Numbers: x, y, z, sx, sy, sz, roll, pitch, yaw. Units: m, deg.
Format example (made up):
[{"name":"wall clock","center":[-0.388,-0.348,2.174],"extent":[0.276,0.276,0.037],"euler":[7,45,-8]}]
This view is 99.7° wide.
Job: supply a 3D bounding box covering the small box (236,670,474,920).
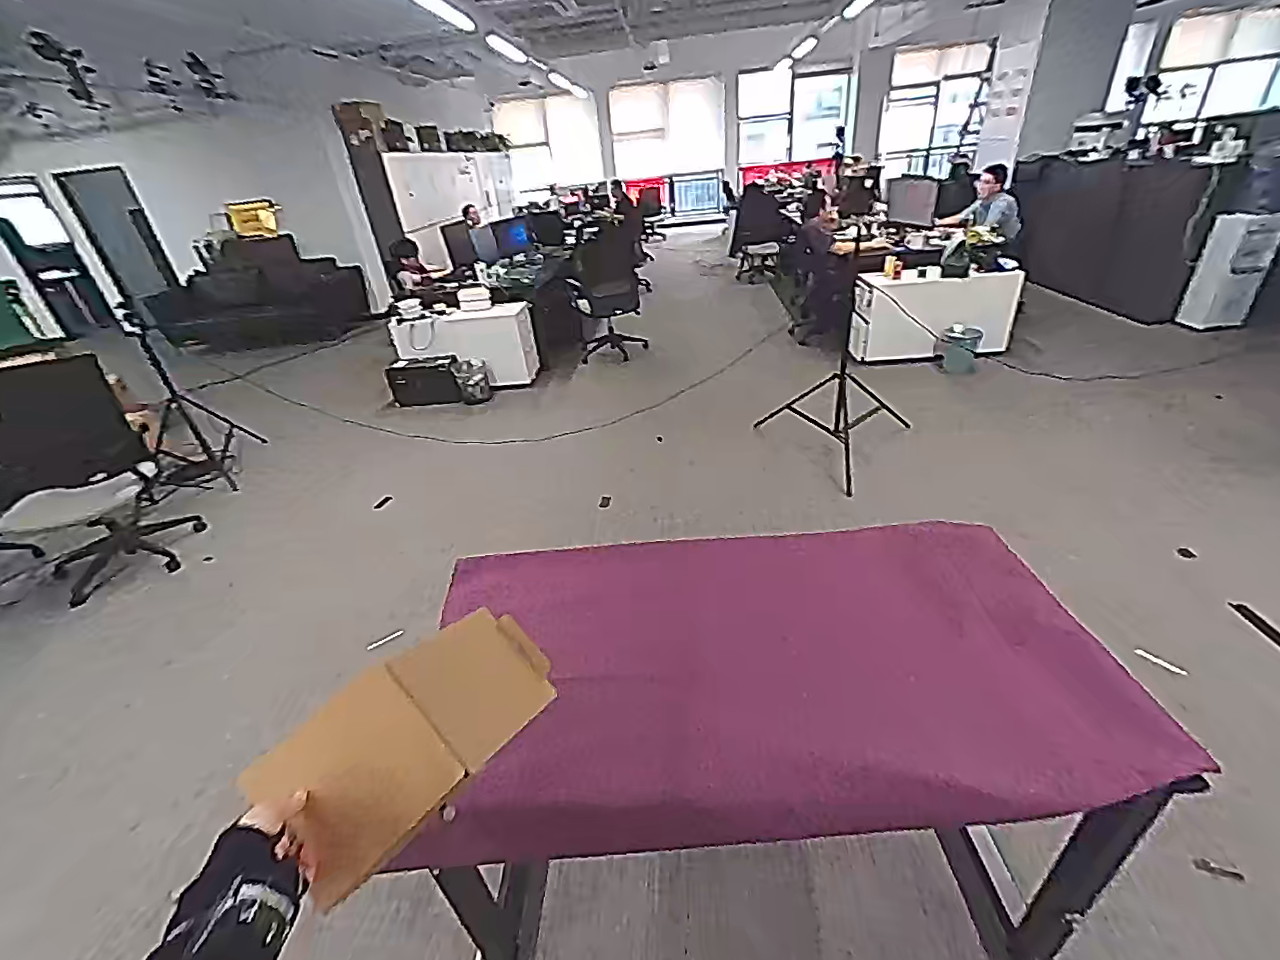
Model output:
[{"name":"small box","center":[-0.317,0.358,0.647],"extent":[0.179,0.176,0.168],"euler":[-40,76,-23]}]
